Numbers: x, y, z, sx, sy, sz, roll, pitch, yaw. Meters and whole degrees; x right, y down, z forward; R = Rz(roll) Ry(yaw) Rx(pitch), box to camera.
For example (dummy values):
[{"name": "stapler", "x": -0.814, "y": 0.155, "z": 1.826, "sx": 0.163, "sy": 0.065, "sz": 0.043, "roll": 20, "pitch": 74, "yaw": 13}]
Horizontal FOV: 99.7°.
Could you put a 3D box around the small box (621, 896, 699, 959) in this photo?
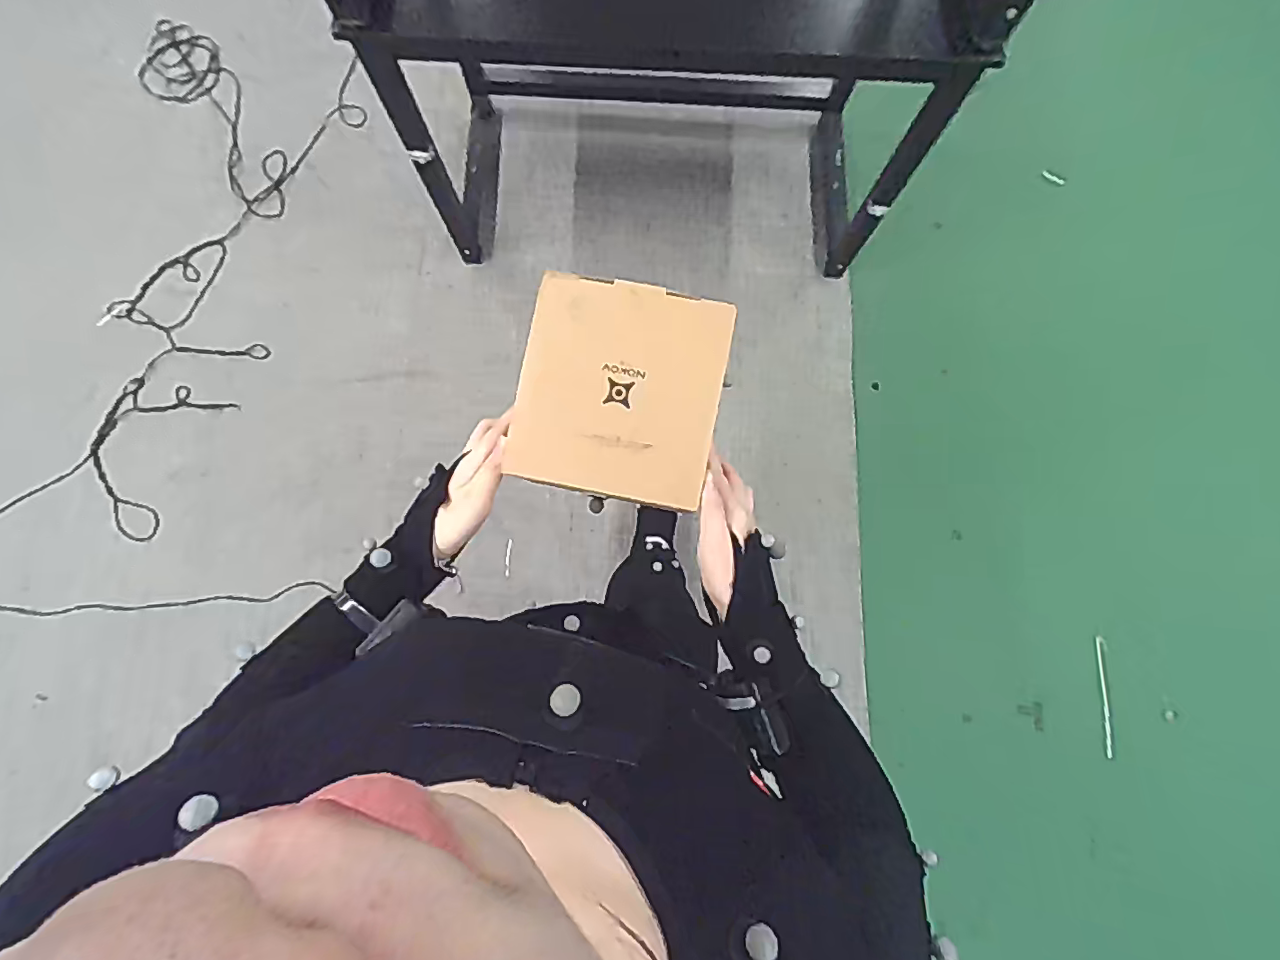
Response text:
[{"name": "small box", "x": 0.042, "y": 1.141, "z": 1.295, "sx": 0.168, "sy": 0.176, "sz": 0.179, "roll": 7, "pitch": 80, "yaw": 0}]

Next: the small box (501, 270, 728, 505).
[{"name": "small box", "x": -0.020, "y": -0.076, "z": 0.535, "sx": 0.168, "sy": 0.176, "sz": 0.179, "roll": 11, "pitch": 88, "yaw": 2}]
